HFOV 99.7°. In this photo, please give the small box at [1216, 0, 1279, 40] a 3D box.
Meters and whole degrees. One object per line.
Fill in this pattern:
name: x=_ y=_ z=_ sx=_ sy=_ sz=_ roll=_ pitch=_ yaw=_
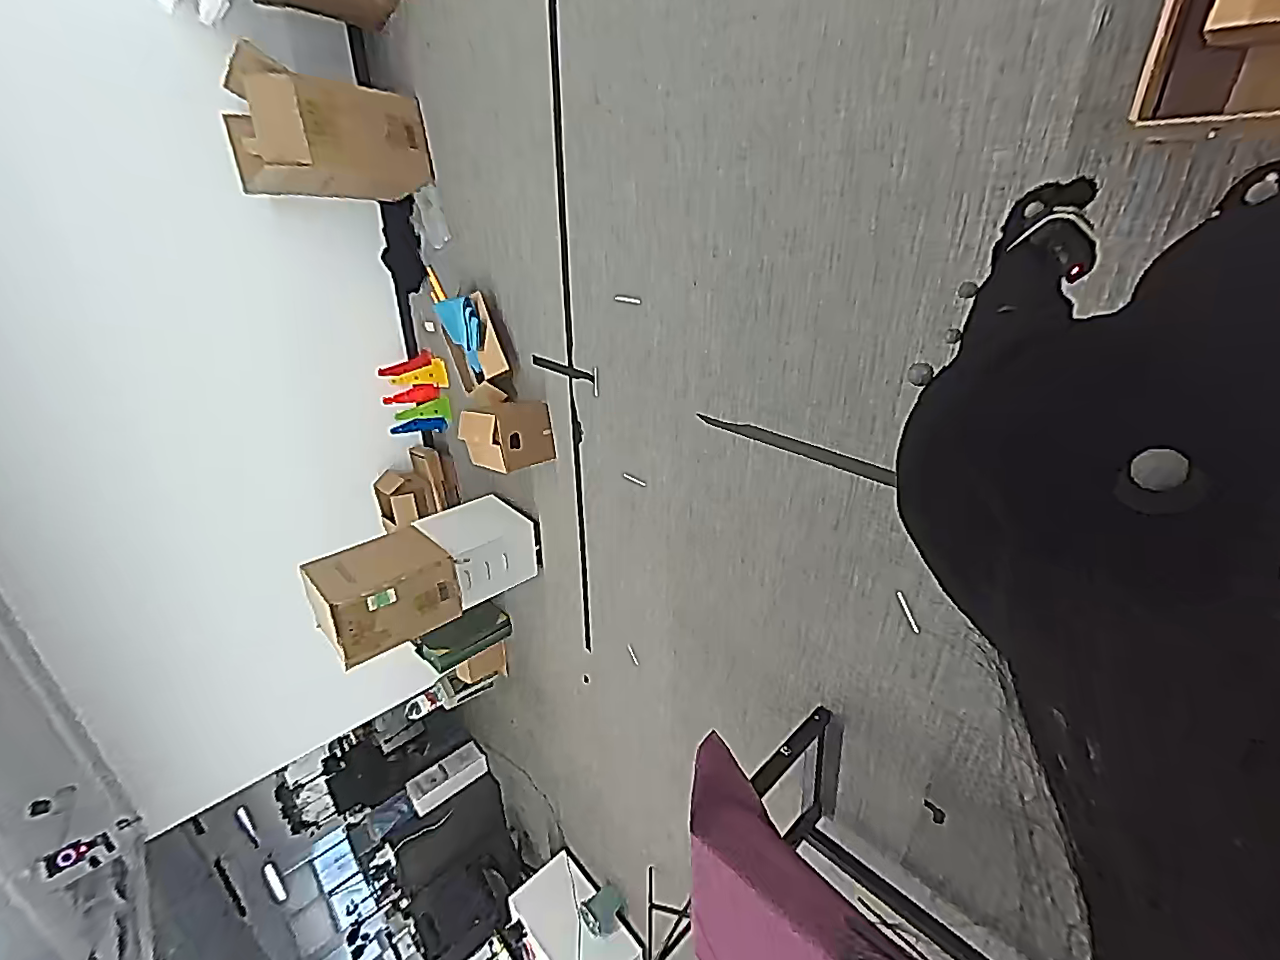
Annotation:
small box: x=0.985 y=-0.755 z=0.768 sx=0.179 sy=0.176 sz=0.168 roll=28 pitch=127 yaw=41
